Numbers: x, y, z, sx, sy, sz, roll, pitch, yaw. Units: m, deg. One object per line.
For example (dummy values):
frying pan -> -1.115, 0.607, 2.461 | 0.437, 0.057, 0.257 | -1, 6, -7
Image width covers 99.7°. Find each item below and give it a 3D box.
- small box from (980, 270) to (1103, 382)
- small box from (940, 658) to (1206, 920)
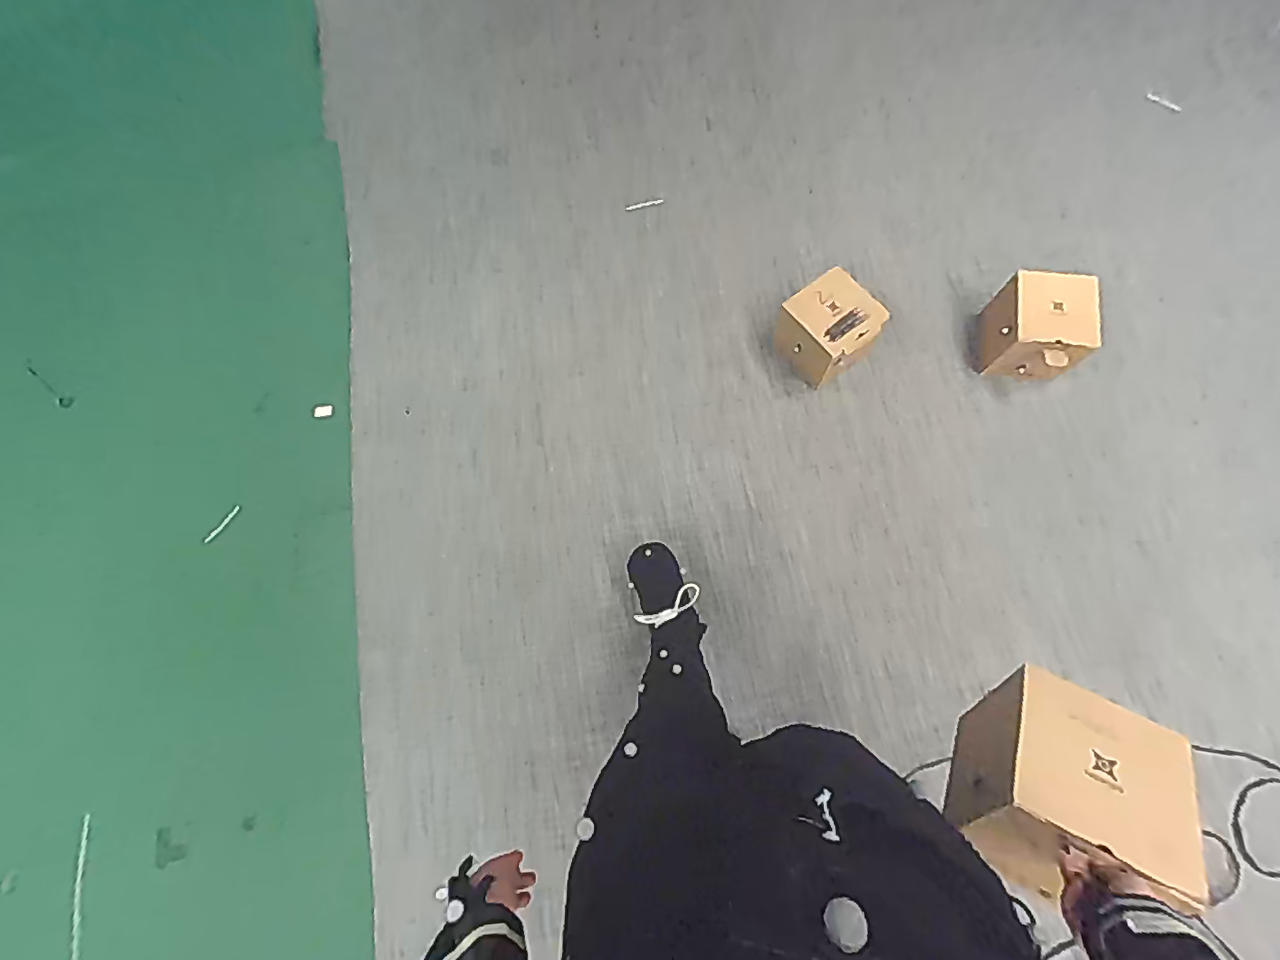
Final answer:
small box -> 0.902, -0.346, 1.230 | 0.168, 0.176, 0.179 | 8, 76, 7
small box -> 0.466, 0.347, 0.608 | 0.168, 0.176, 0.179 | 26, 48, 19
